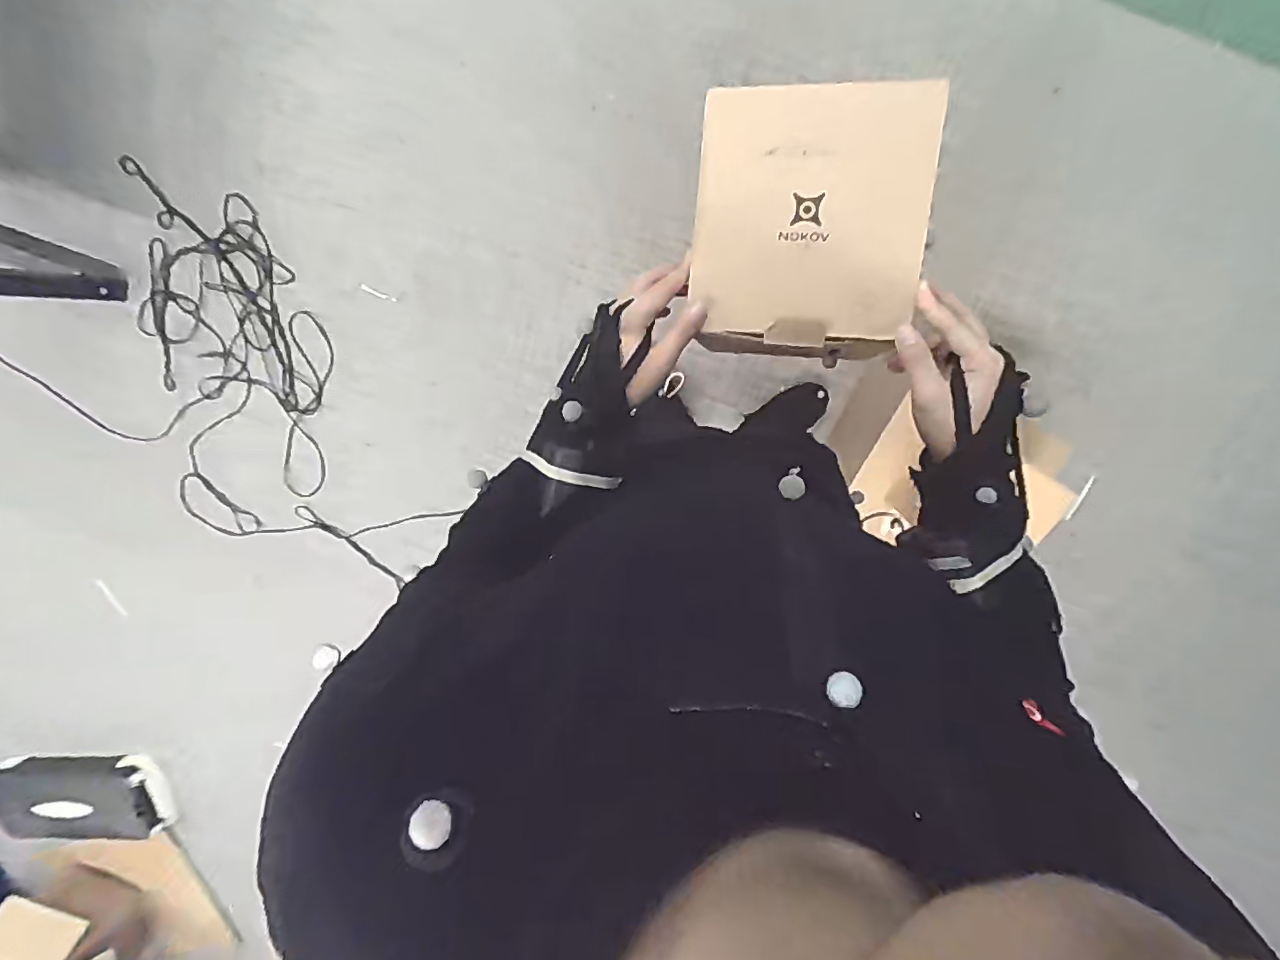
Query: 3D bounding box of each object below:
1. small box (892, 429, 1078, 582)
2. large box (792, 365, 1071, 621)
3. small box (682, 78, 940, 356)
[{"bbox_3d":[0.562,0.032,0.915,0.168,0.176,0.179,31,107,-2],"label":"small box"},{"bbox_3d":[0.574,0.006,1.160,0.320,0.320,0.408,26,108,1],"label":"large box"},{"bbox_3d":[0.135,-0.204,0.470,0.168,0.176,0.179,5,98,11],"label":"small box"}]
